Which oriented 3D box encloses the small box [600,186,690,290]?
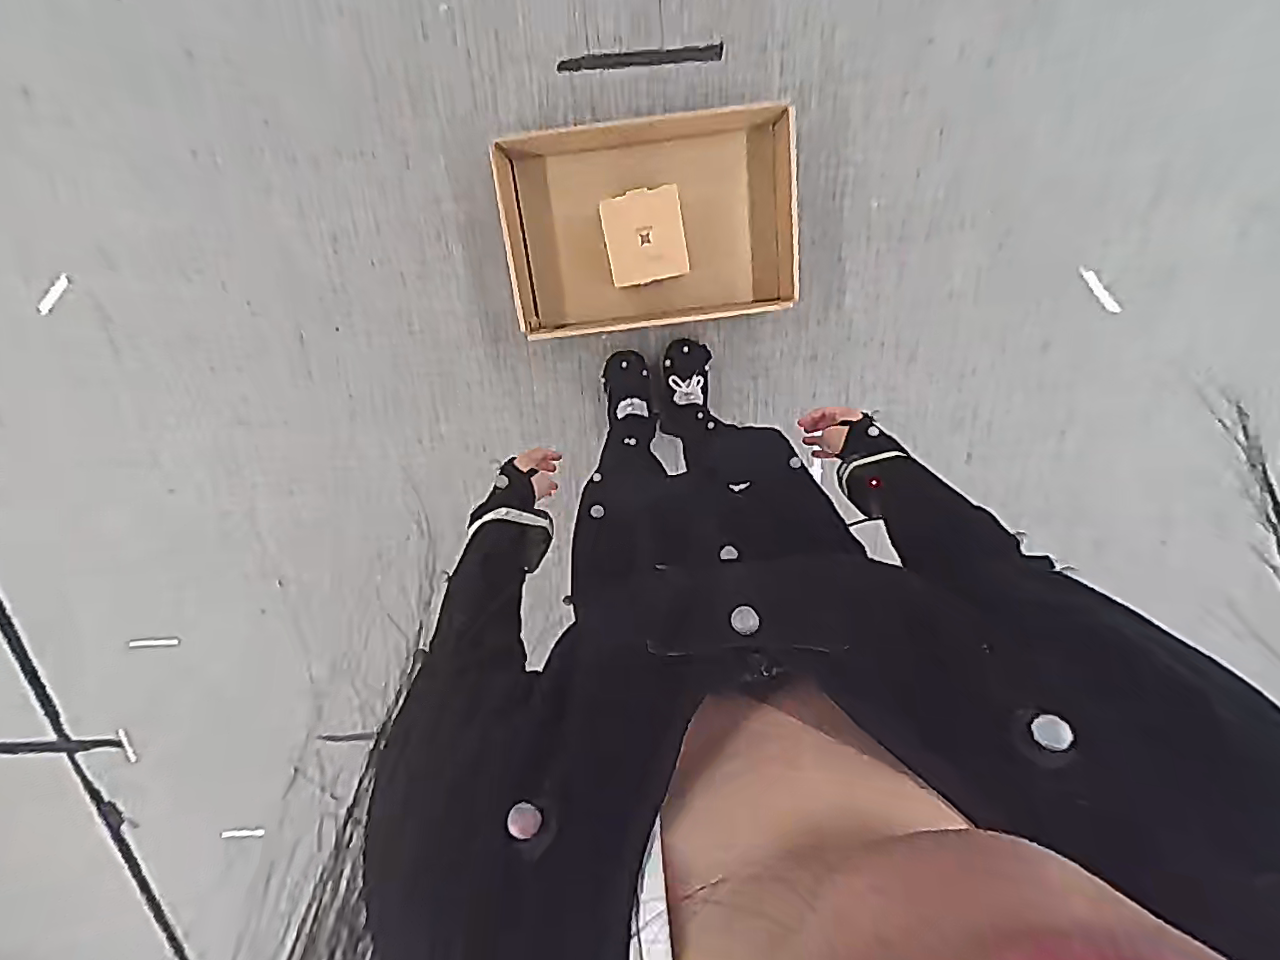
[{"bbox_3d":[0.010,-0.527,1.202,0.168,0.176,0.179,-11,109,4],"label":"small box"}]
